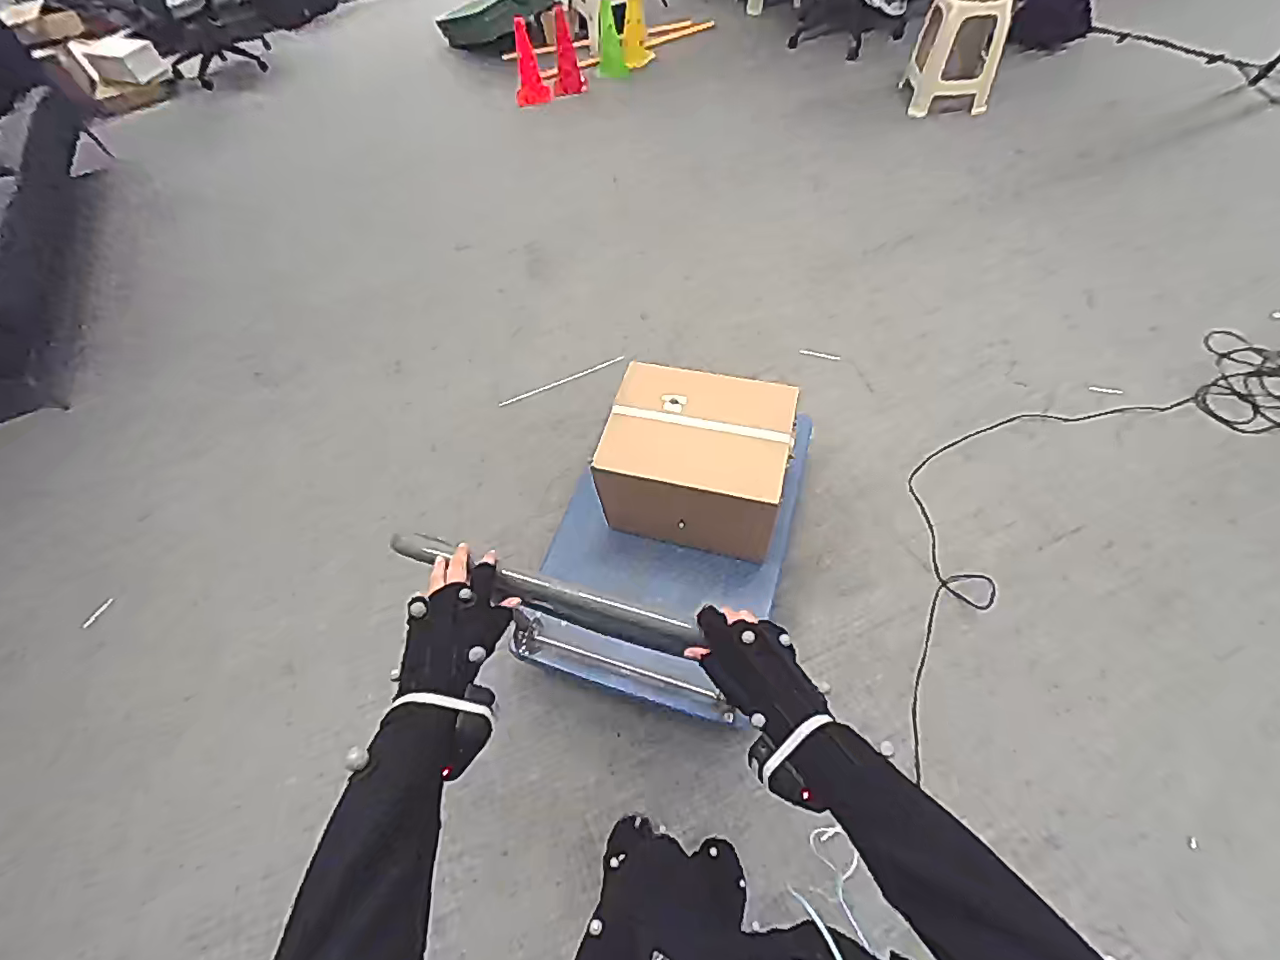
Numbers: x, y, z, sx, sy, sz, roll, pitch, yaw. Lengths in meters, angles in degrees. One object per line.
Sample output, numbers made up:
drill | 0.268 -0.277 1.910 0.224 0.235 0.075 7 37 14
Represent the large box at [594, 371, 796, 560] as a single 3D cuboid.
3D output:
large box | 0.146 -0.031 1.324 0.408 0.320 0.320 10 60 13
